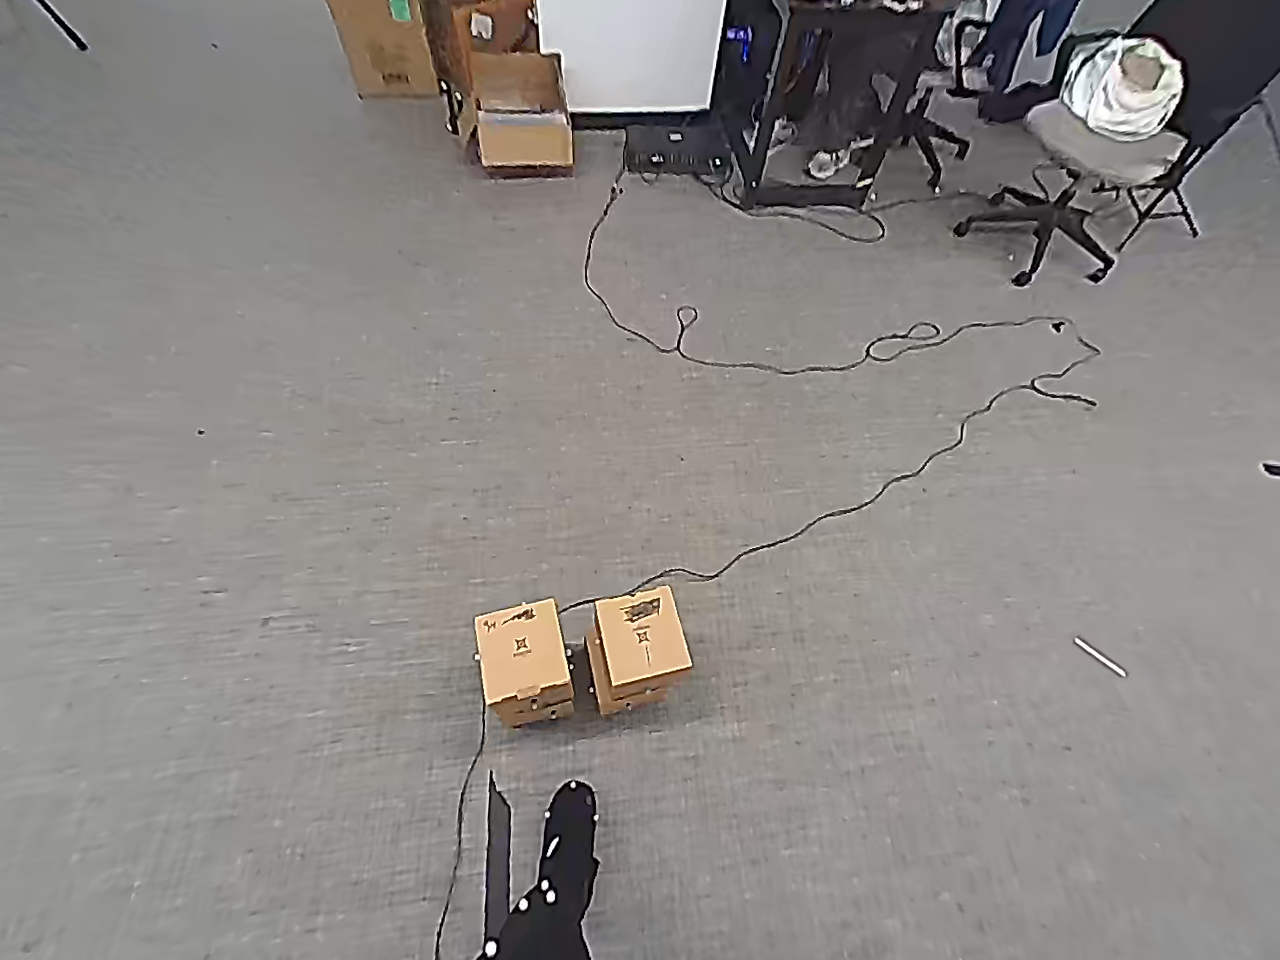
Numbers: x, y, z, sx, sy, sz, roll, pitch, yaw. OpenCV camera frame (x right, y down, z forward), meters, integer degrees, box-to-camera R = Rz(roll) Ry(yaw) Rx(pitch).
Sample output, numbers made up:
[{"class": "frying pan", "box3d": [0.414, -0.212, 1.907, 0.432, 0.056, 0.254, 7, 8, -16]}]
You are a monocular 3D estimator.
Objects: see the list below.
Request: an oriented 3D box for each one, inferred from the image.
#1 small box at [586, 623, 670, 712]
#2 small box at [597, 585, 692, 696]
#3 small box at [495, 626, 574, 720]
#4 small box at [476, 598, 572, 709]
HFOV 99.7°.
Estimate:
[{"class": "small box", "box3d": [-0.035, 0.442, 1.308, 0.168, 0.176, 0.179, -11, 61, -11]}, {"class": "small box", "box3d": [0.000, 0.351, 1.173, 0.168, 0.176, 0.179, -10, 62, -10]}, {"class": "small box", "box3d": [-0.250, 0.461, 1.281, 0.168, 0.176, 0.179, -7, 60, -9]}, {"class": "small box", "box3d": [-0.239, 0.372, 1.143, 0.168, 0.176, 0.179, -11, 62, -11]}]
